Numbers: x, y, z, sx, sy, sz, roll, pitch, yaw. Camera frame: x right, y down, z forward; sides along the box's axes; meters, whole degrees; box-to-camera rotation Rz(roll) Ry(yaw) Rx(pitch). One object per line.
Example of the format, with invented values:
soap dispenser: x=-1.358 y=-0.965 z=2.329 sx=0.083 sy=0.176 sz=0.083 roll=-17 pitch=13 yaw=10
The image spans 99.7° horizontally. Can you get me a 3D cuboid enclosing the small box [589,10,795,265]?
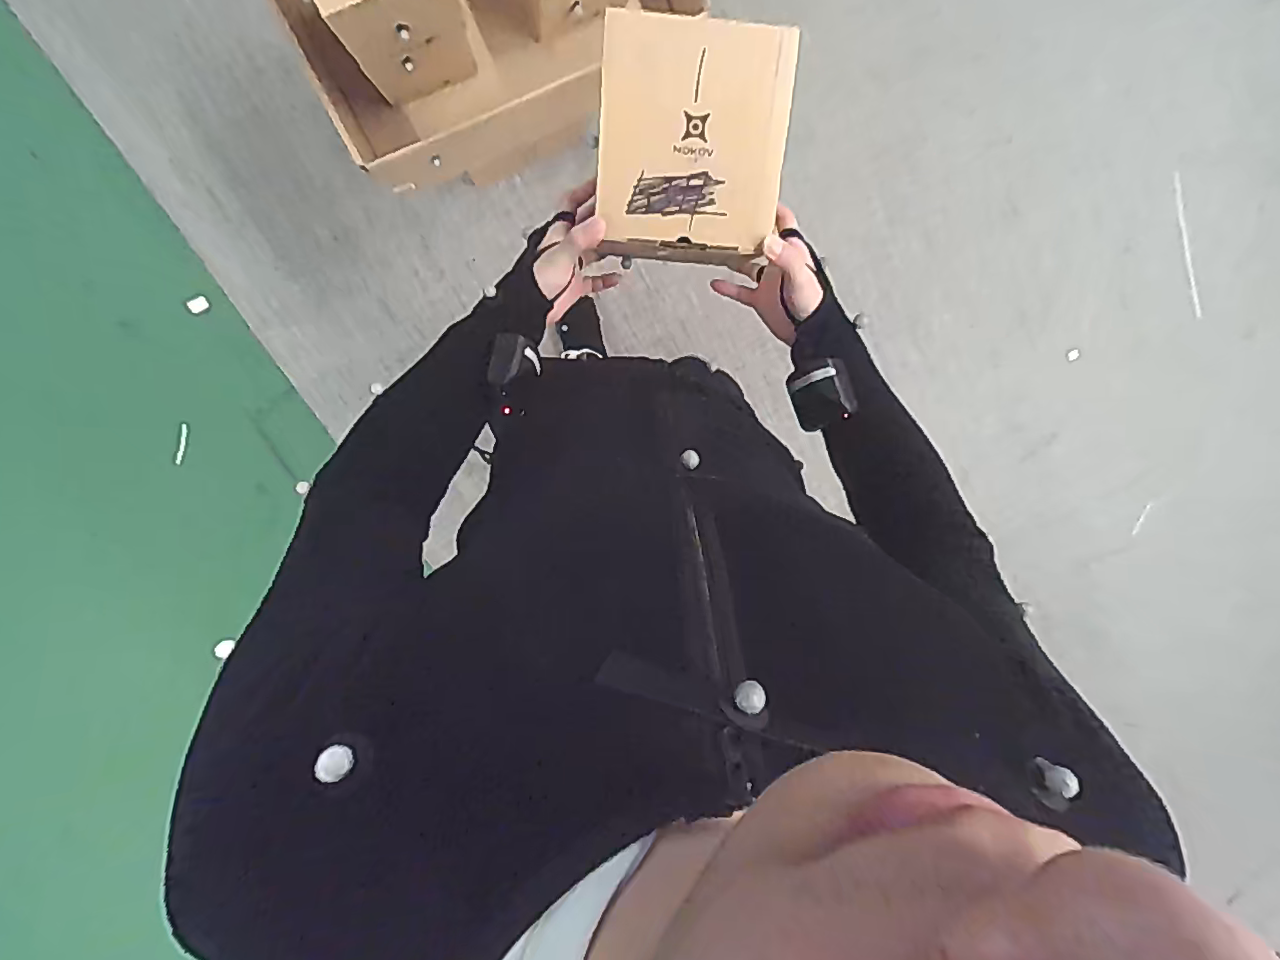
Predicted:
small box: x=0.040 y=-0.321 z=0.548 sx=0.168 sy=0.176 sz=0.179 roll=4 pitch=106 yaw=-3

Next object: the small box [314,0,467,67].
small box: x=-0.341 y=-0.672 z=0.692 sx=0.168 sy=0.176 sz=0.179 roll=-23 pitch=109 yaw=-1

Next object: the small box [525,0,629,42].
small box: x=-0.113 y=-0.837 z=0.849 sx=0.168 sy=0.176 sz=0.179 roll=-24 pitch=109 yaw=0

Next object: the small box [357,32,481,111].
small box: x=-0.369 y=-0.726 z=0.845 sx=0.168 sy=0.176 sz=0.179 roll=-21 pitch=108 yaw=0
